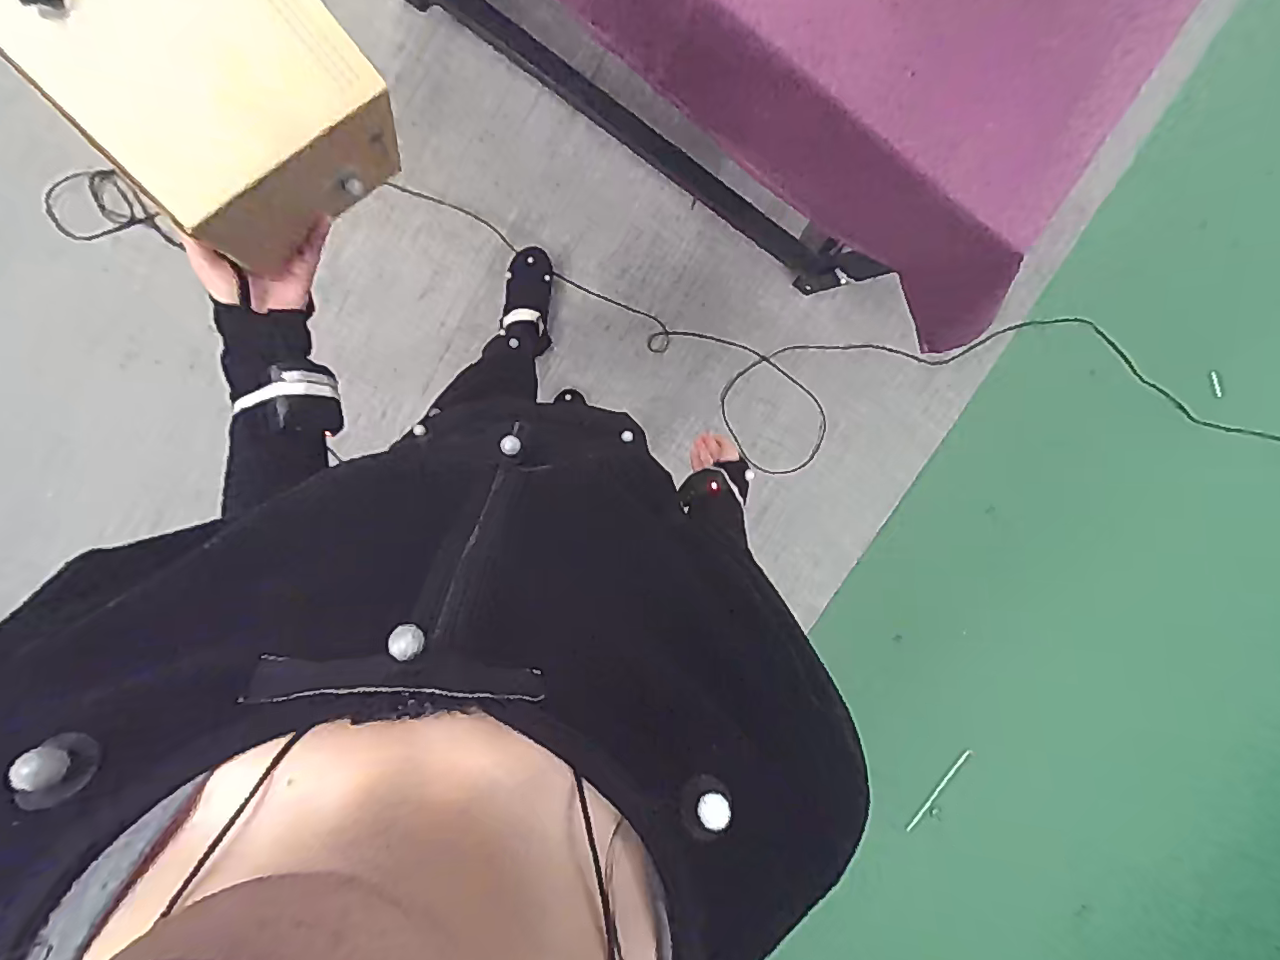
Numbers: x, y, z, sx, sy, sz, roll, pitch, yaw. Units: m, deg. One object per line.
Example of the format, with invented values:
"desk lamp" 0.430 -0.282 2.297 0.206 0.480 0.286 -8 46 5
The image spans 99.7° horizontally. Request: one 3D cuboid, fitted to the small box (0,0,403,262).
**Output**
"small box" -0.306 -0.300 0.403 0.176 0.168 0.179 -43 113 -8
